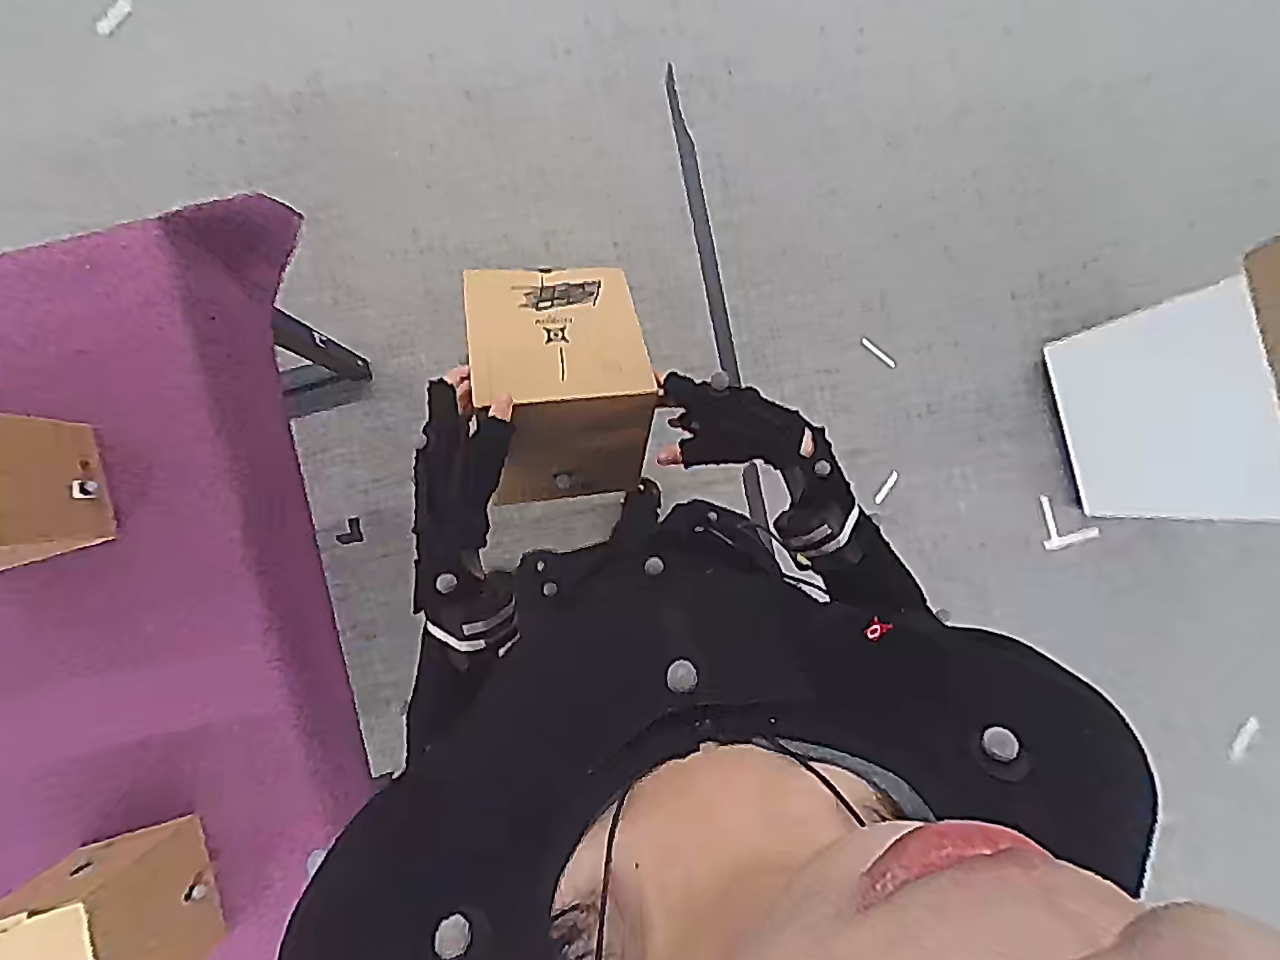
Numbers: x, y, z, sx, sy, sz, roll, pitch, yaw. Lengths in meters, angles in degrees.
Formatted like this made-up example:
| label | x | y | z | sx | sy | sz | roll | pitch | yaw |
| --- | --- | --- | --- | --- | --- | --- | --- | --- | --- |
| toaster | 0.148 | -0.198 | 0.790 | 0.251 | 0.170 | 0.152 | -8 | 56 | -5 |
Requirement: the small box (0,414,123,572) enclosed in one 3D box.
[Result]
| label | x | y | z | sx | sy | sz | roll | pitch | yaw |
| --- | --- | --- | --- | --- | --- | --- | --- | --- | --- |
| small box | -0.818 | 0.024 | 0.670 | 0.179 | 0.176 | 0.168 | -17 | 90 | -5 |

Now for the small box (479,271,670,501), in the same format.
| label | x | y | z | sx | sy | sz | roll | pitch | yaw |
| --- | --- | --- | --- | --- | --- | --- | --- | --- | --- |
| small box | -0.078 | -0.099 | 0.578 | 0.168 | 0.176 | 0.179 | -6 | 57 | -12 |

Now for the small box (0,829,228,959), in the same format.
| label | x | y | z | sx | sy | sz | roll | pitch | yaw |
| --- | --- | --- | --- | --- | --- | --- | --- | --- | --- |
| small box | -0.651 | 0.561 | 0.653 | 0.168 | 0.176 | 0.179 | -16 | 88 | -4 |
